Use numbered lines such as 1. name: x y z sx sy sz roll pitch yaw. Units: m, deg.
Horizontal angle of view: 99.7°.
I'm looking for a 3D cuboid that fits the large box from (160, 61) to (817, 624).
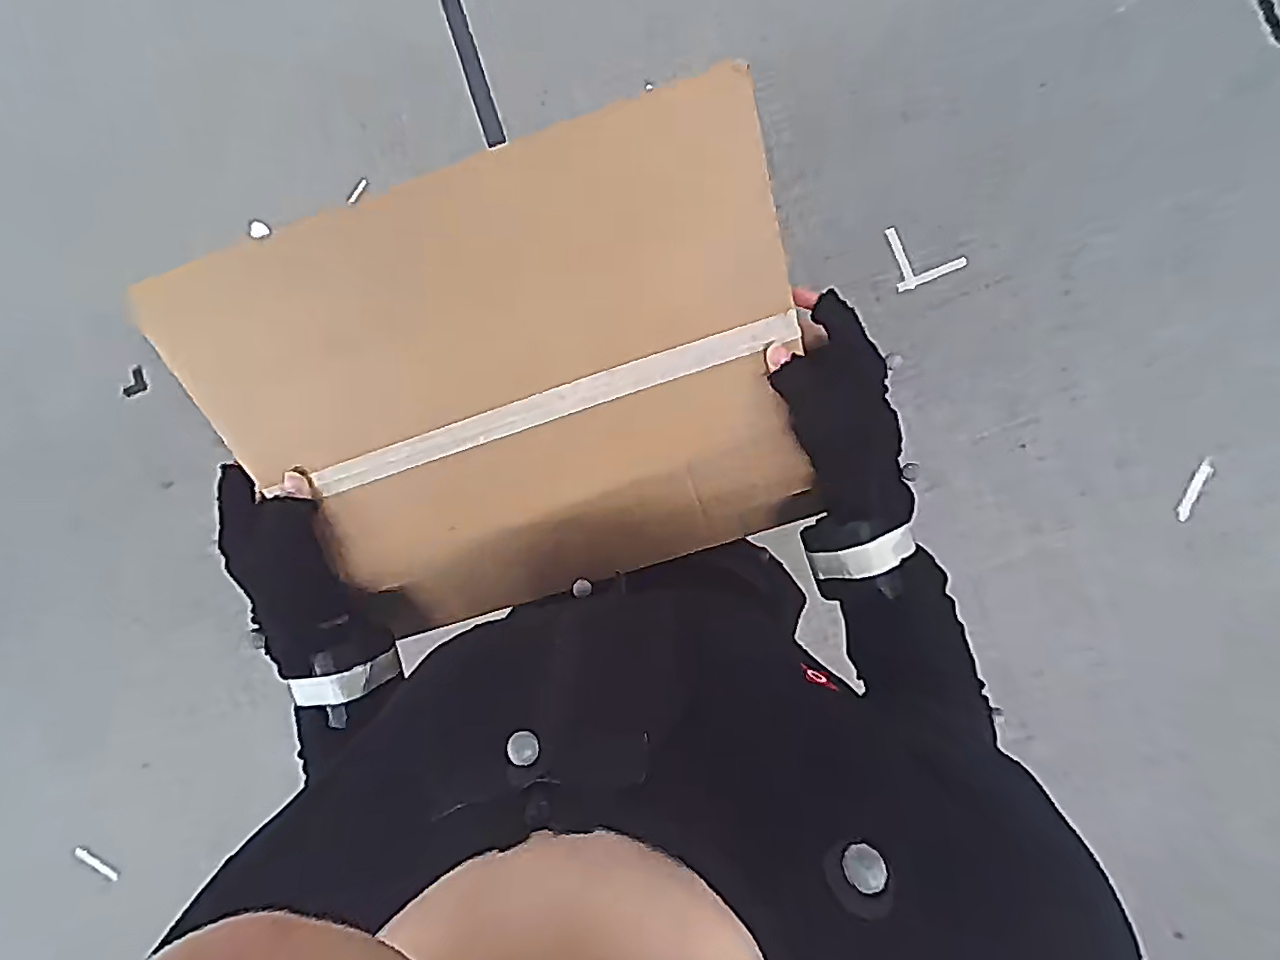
1. large box: -0.095 -0.123 0.533 0.408 0.320 0.320 -17 117 5
